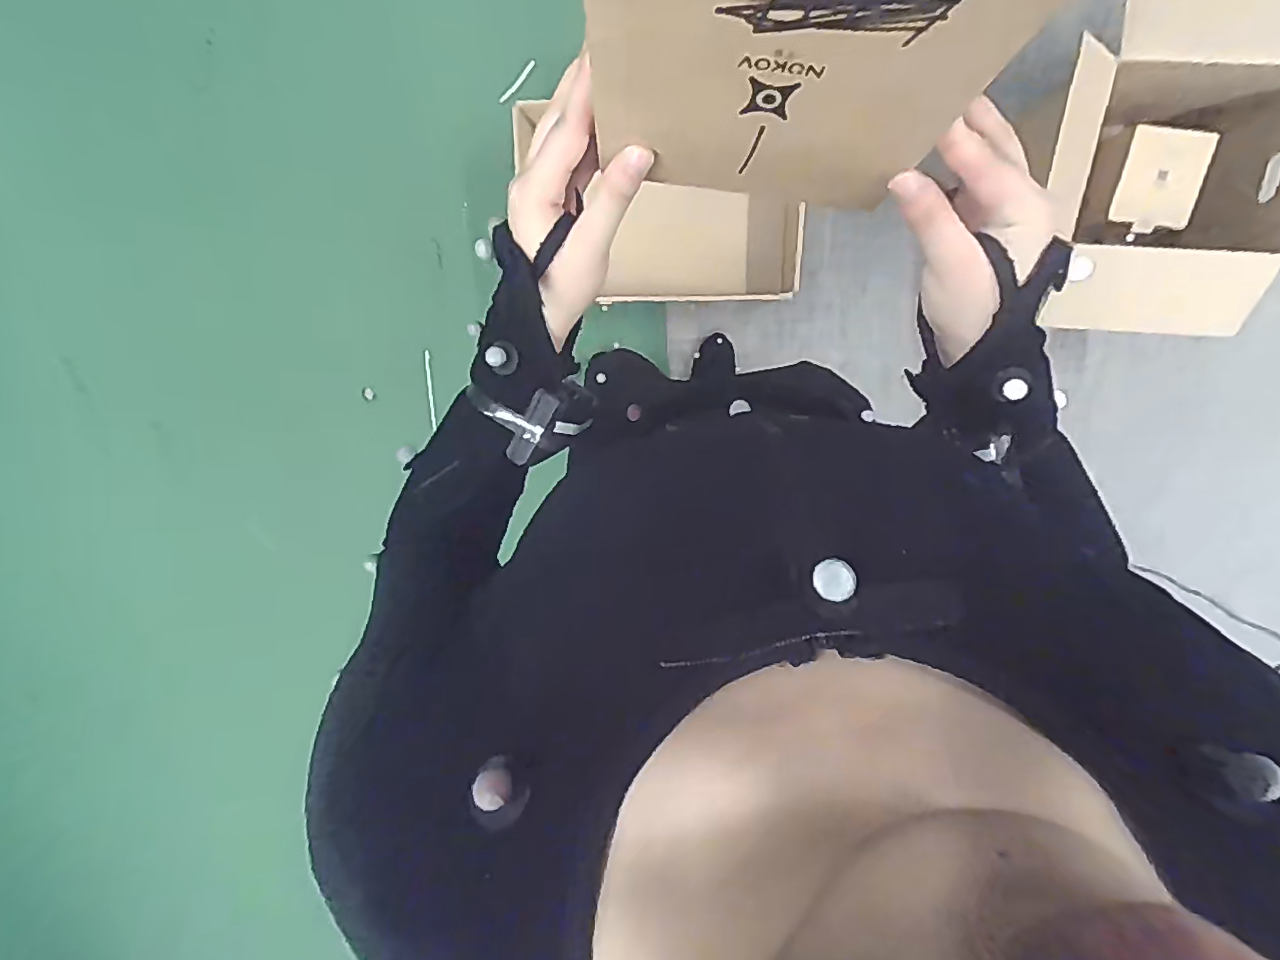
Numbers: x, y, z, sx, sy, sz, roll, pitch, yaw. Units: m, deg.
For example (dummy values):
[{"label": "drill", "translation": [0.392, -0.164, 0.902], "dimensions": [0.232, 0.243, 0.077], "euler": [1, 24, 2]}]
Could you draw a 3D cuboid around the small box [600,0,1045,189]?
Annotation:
[{"label": "small box", "translation": [0.072, -0.262, 0.231], "dimensions": [0.168, 0.179, 0.176], "euler": [7, 89, -2]}]

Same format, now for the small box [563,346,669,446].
[{"label": "small box", "translation": [-0.053, -0.199, 1.325], "dimensions": [0.176, 0.168, 0.179], "euler": [32, 74, -32]}]
